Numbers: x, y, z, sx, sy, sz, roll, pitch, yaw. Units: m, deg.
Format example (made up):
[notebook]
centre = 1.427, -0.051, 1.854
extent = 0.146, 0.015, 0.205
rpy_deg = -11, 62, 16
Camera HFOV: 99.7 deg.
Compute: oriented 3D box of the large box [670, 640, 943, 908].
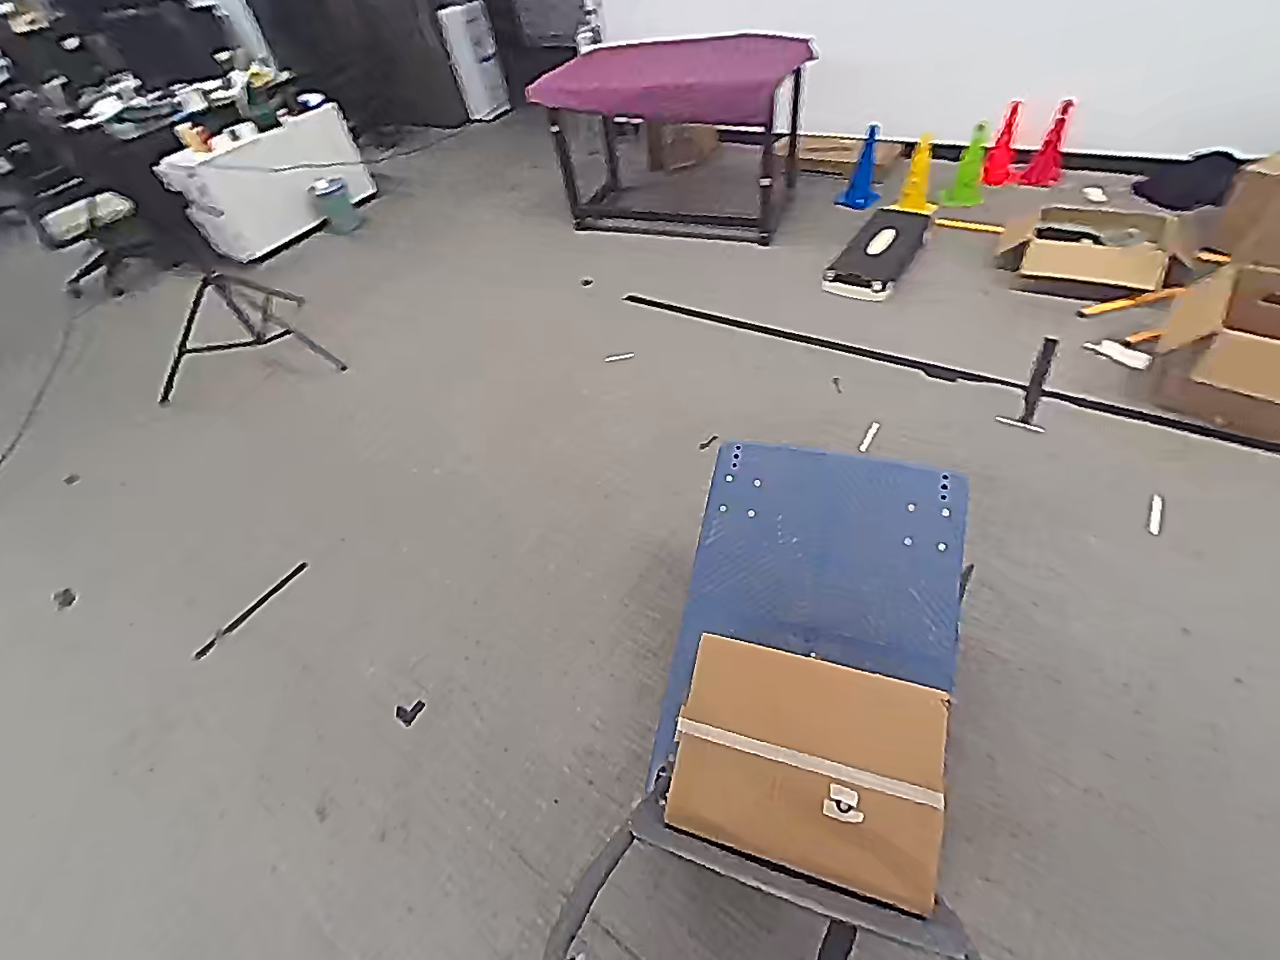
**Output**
[large box]
centre = 0.299, 0.507, 1.020
extent = 0.408, 0.320, 0.320
rpy_deg = 9, 74, 16
